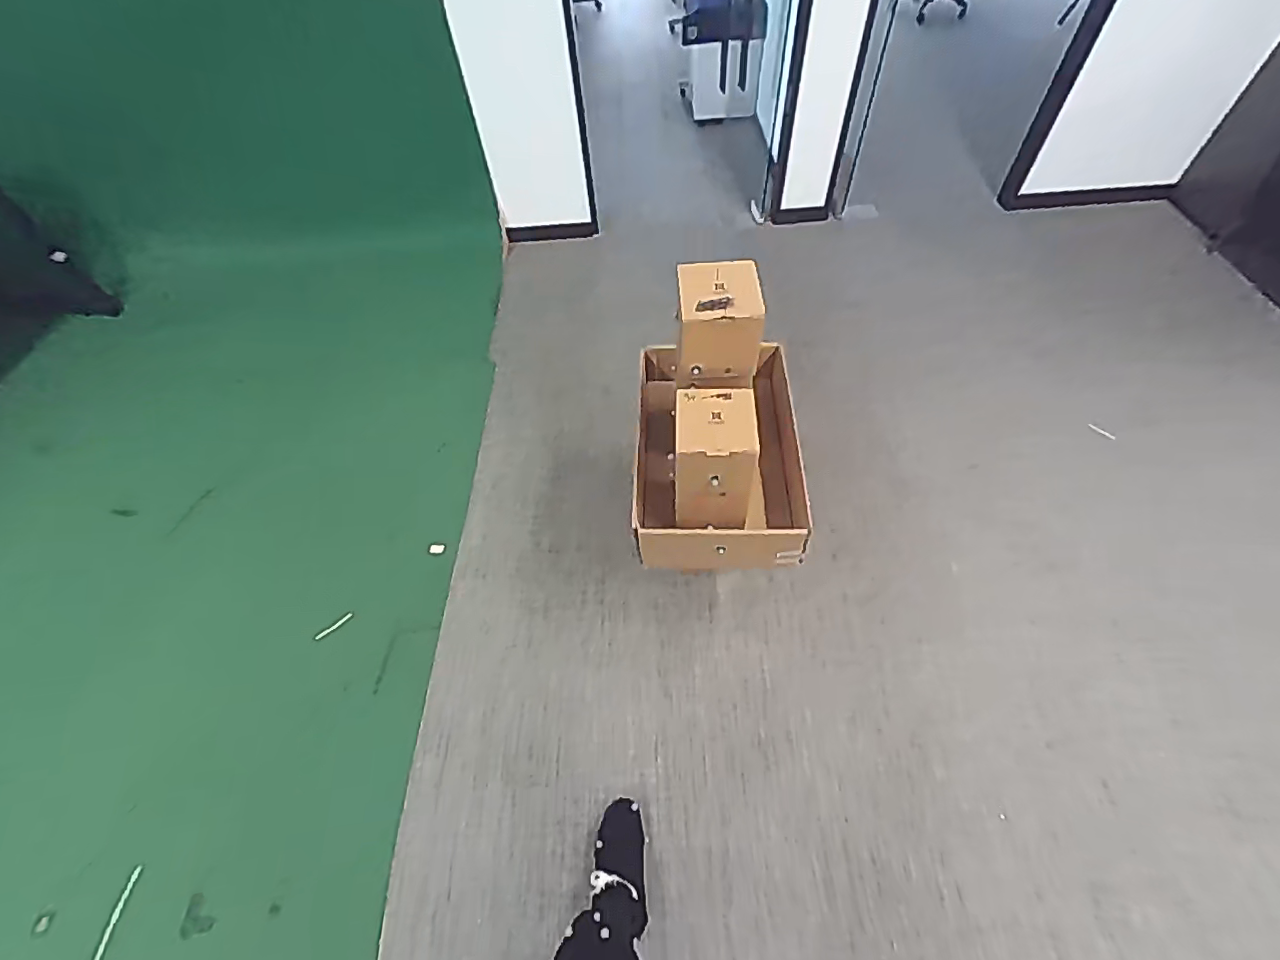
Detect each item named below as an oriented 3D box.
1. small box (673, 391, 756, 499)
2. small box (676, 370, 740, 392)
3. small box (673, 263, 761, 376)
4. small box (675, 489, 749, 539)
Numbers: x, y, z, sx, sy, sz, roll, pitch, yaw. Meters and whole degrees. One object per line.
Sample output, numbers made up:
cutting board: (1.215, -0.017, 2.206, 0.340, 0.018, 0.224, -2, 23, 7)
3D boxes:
small box: (0.157, -0.071, 1.169, 0.168, 0.176, 0.179, 0, 55, 4)
small box: (0.178, -0.179, 1.452, 0.168, 0.176, 0.179, -1, 57, 3)
small box: (0.160, -0.337, 1.164, 0.168, 0.176, 0.179, -3, 57, 2)
small box: (0.168, 0.024, 1.300, 0.168, 0.176, 0.179, -1, 53, 5)
